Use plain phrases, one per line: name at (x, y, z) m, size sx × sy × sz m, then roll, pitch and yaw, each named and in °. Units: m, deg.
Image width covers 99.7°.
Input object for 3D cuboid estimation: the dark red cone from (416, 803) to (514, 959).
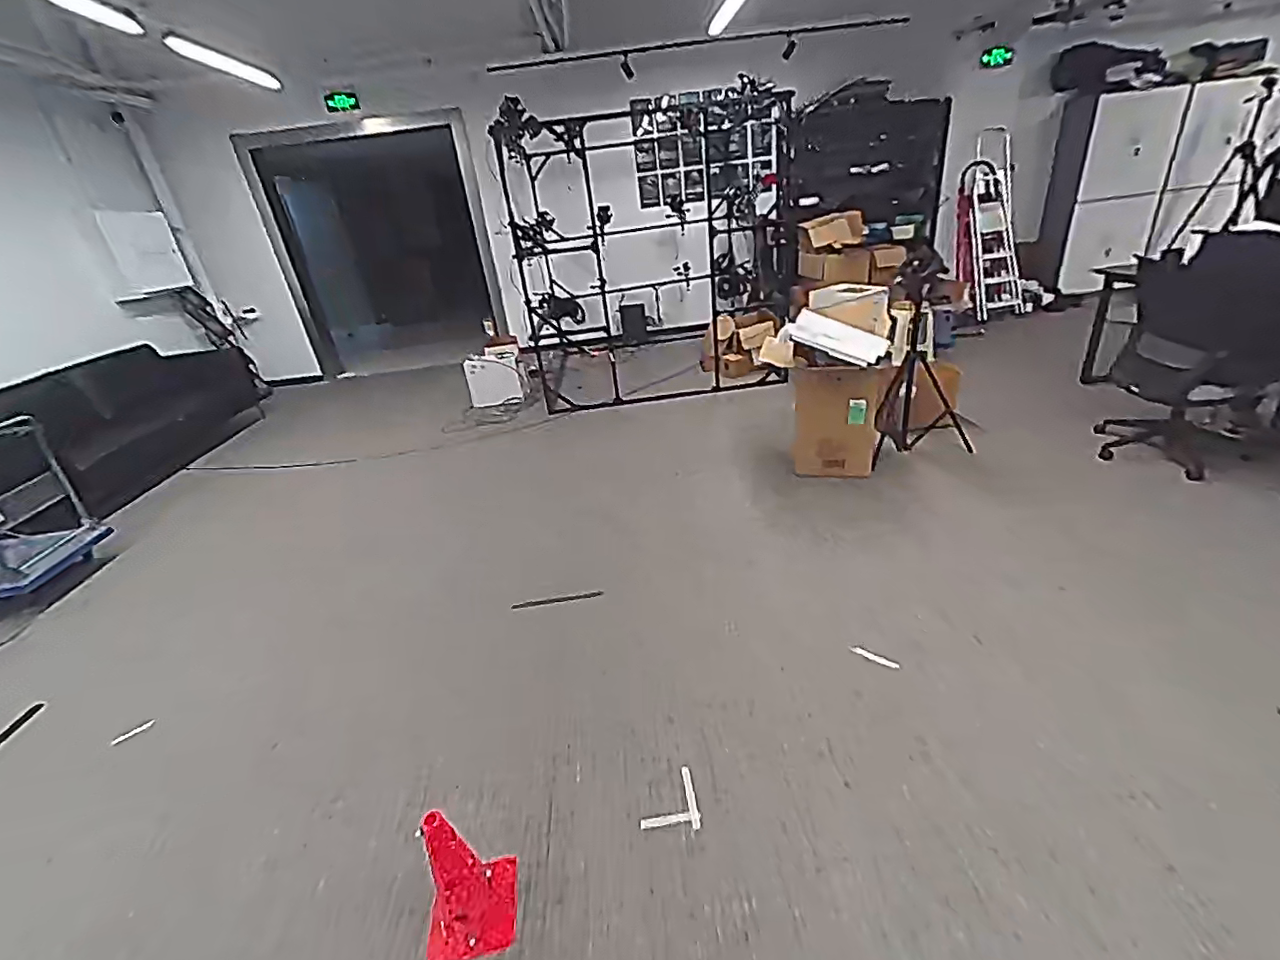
dark red cone at (-0.416, 0.842, 1.182) m, size 0.202 × 0.394 × 0.201 m, roll -11°, pitch 28°, yaw -7°
